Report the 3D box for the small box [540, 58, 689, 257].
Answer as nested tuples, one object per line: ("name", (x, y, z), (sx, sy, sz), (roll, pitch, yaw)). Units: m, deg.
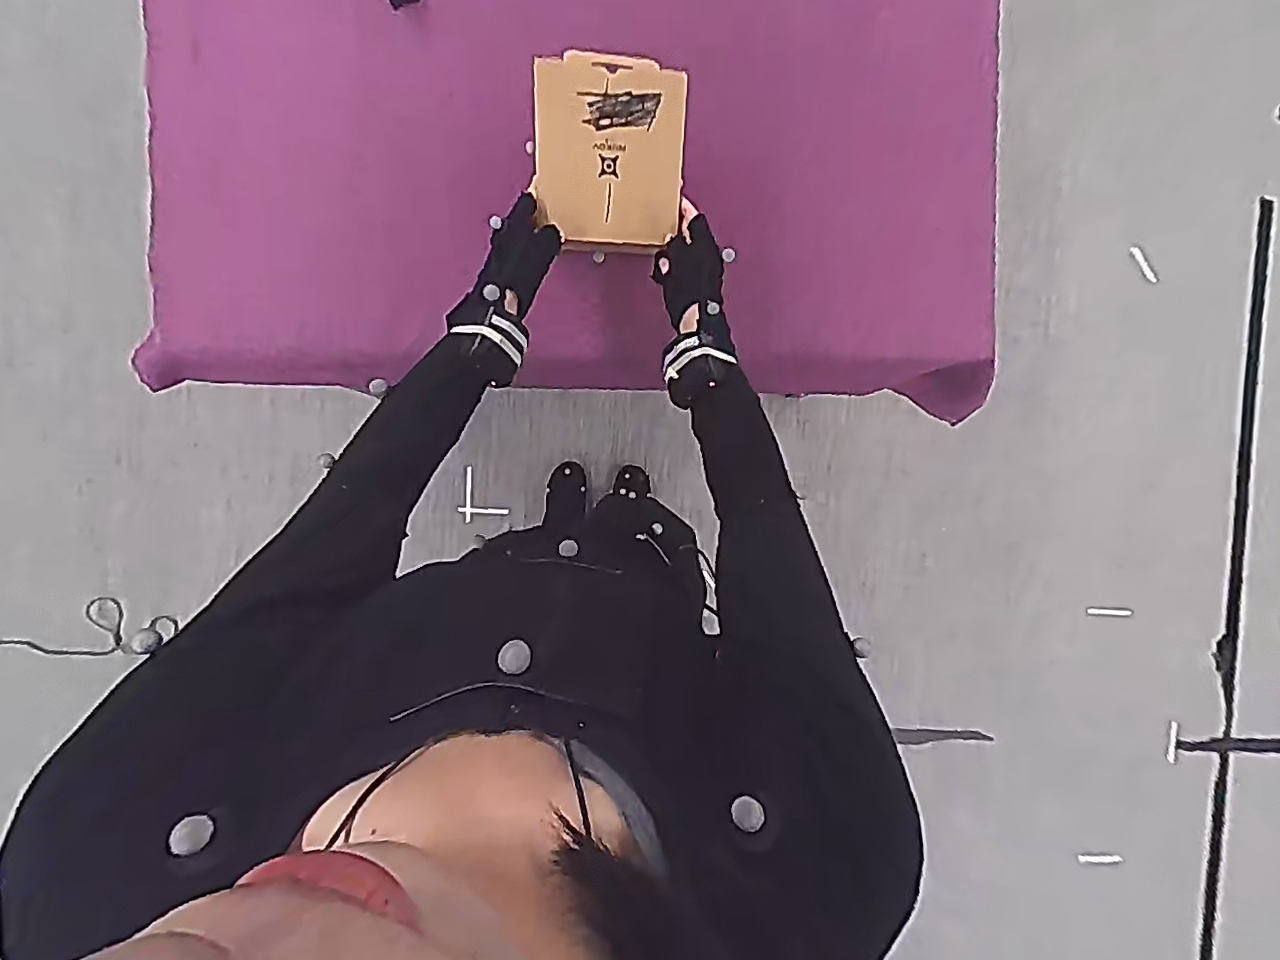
("small box", (-0.040, -0.386, 0.680), (0.168, 0.176, 0.179), (0, 109, -7))
